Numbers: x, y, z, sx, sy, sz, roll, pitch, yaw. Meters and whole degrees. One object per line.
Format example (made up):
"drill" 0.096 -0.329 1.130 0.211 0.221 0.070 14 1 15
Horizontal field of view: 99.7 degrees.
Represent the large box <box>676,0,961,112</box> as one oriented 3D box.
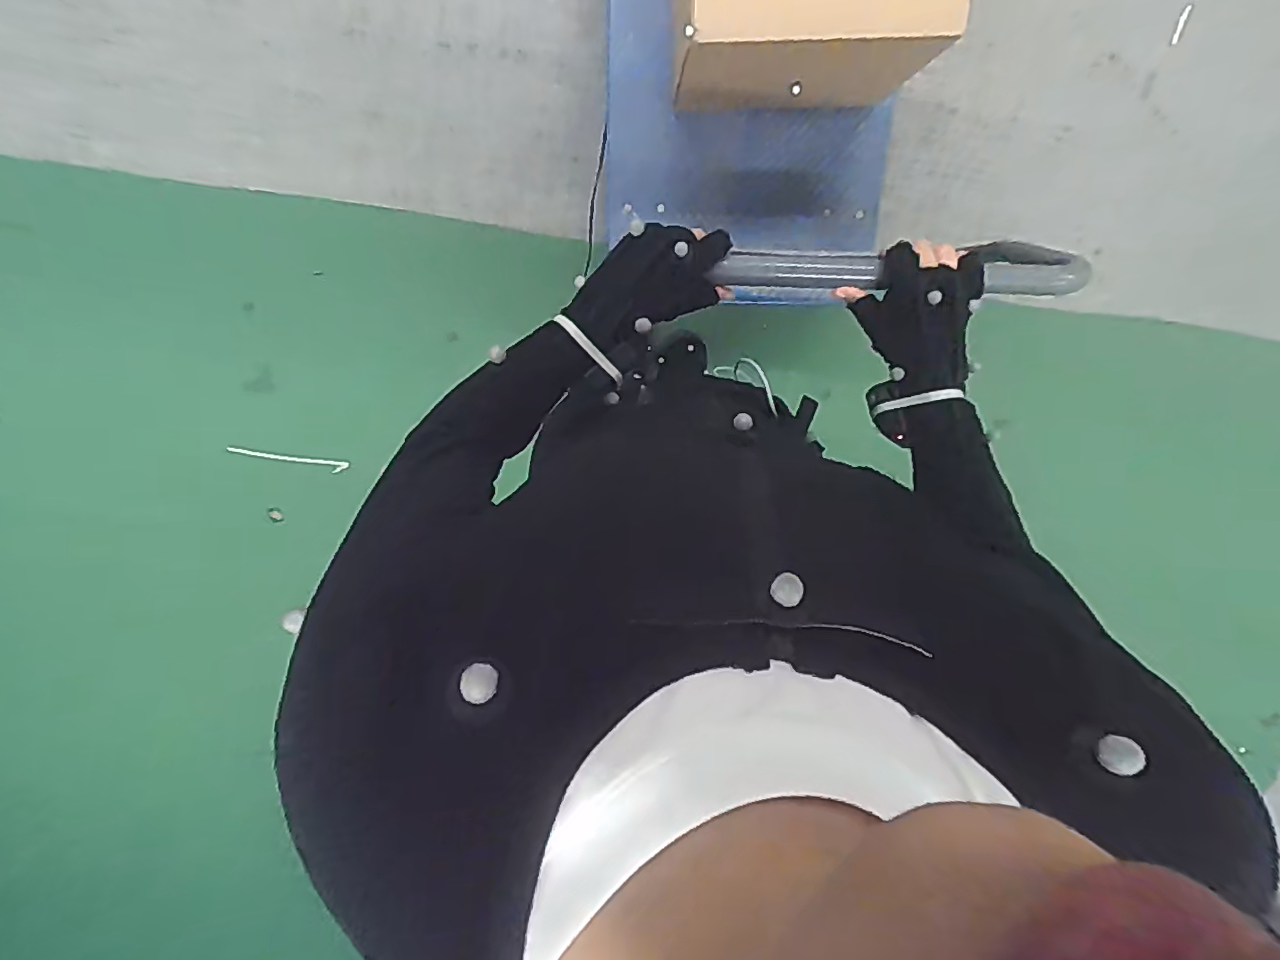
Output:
"large box" 0.270 -0.840 0.899 0.408 0.320 0.320 -2 108 0
